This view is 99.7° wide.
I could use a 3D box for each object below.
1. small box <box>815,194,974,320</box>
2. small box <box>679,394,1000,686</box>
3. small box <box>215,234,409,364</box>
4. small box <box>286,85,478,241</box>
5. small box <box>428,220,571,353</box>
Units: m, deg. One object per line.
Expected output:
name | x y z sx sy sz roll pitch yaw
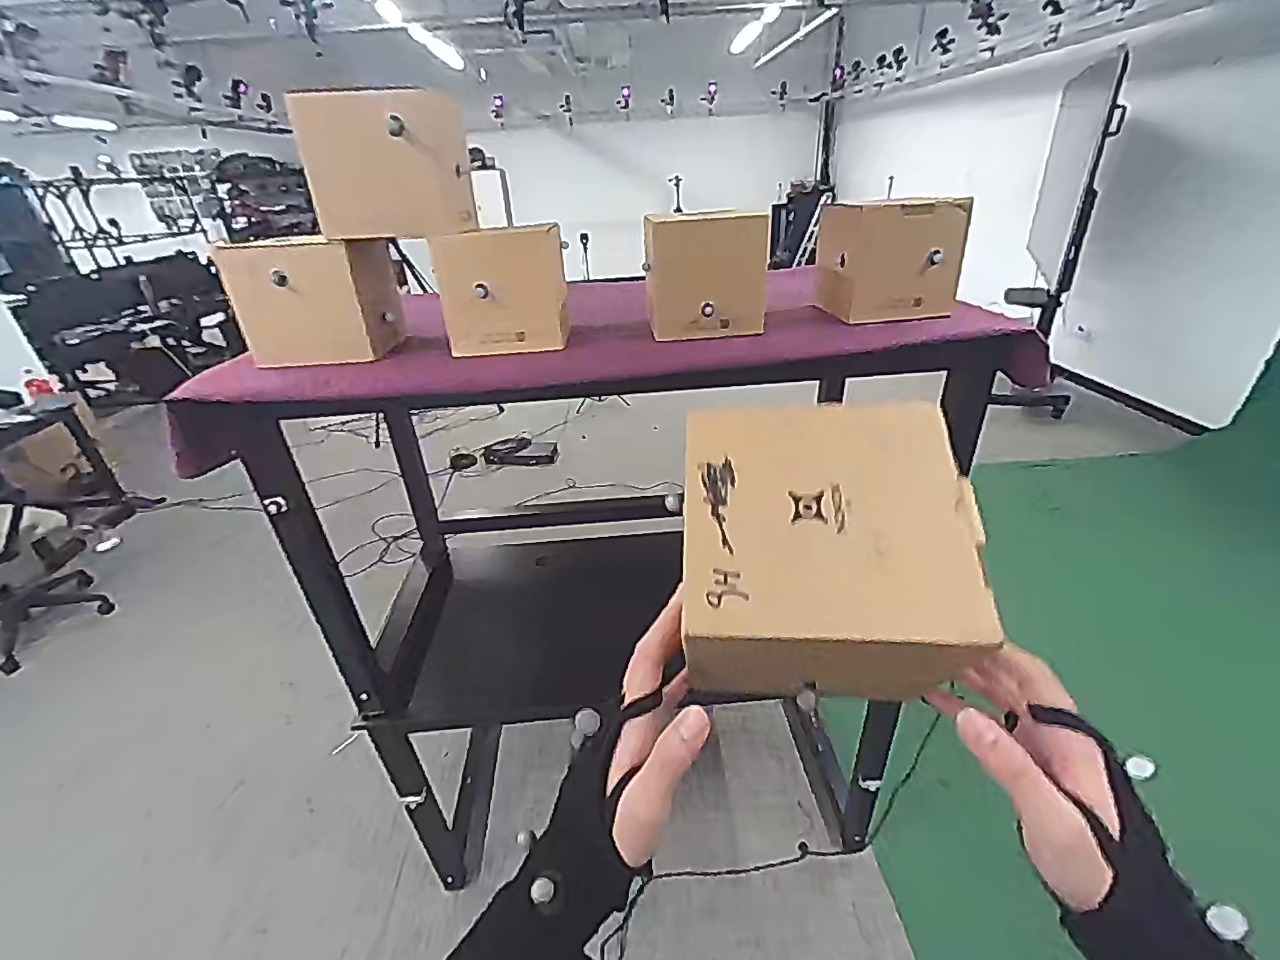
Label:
small box | 0.393 -0.356 0.868 0.168 0.176 0.179 -4 28 0
small box | 0.123 0.052 0.408 0.179 0.176 0.168 1 59 8
small box | -0.483 -0.281 0.829 0.179 0.176 0.168 -3 29 -2
small box | -0.341 -0.438 0.760 0.179 0.176 0.168 -3 28 0
small box | -0.201 -0.296 0.833 0.168 0.176 0.179 -5 28 0
